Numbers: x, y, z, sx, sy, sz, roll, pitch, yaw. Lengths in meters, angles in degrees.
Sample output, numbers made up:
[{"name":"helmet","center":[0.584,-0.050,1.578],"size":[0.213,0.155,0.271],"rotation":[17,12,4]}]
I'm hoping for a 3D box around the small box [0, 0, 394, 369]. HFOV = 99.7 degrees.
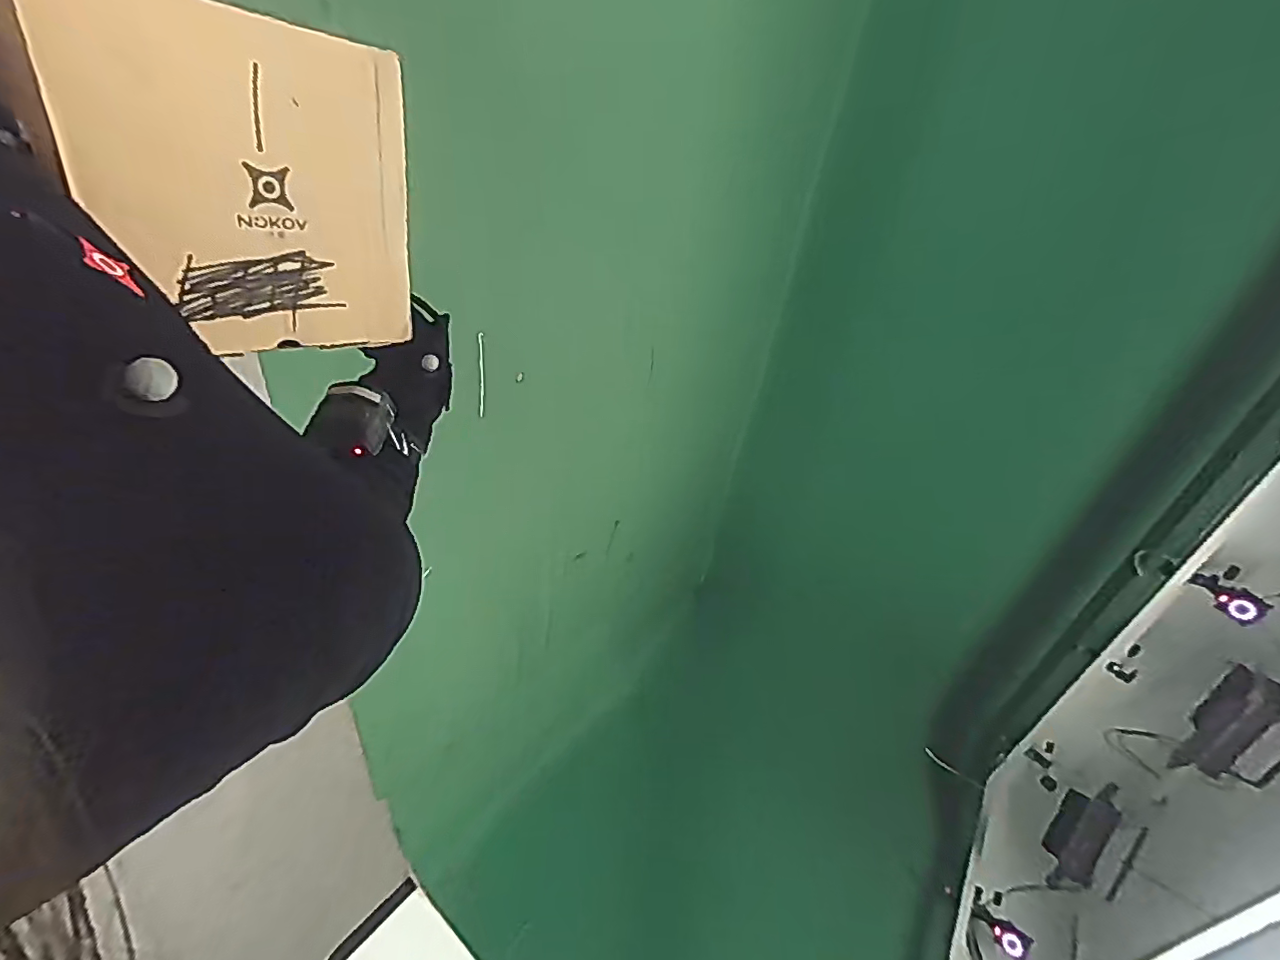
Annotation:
[{"name":"small box","center":[-0.282,-0.189,0.351],"size":[0.168,0.176,0.179],"rotation":[-23,133,-47]}]
